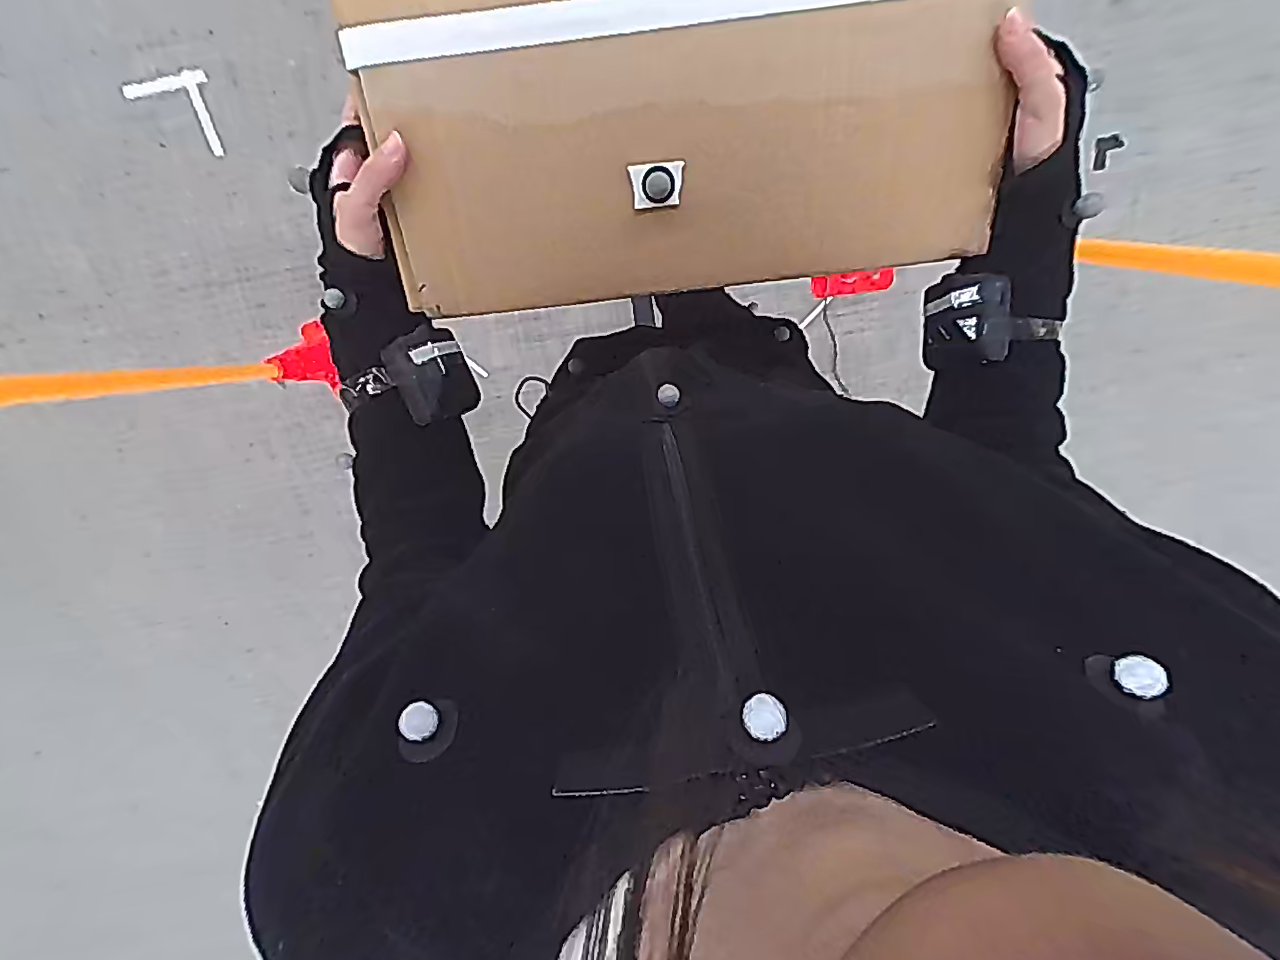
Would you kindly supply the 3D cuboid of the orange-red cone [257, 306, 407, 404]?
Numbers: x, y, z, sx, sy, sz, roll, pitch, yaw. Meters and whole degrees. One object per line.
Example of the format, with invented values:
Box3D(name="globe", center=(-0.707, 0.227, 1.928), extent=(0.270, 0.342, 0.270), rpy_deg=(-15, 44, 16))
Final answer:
Box3D(name="orange-red cone", center=(-0.674, -0.242, 1.132), extent=(0.199, 0.360, 0.198), rpy_deg=(-18, 108, 4))
